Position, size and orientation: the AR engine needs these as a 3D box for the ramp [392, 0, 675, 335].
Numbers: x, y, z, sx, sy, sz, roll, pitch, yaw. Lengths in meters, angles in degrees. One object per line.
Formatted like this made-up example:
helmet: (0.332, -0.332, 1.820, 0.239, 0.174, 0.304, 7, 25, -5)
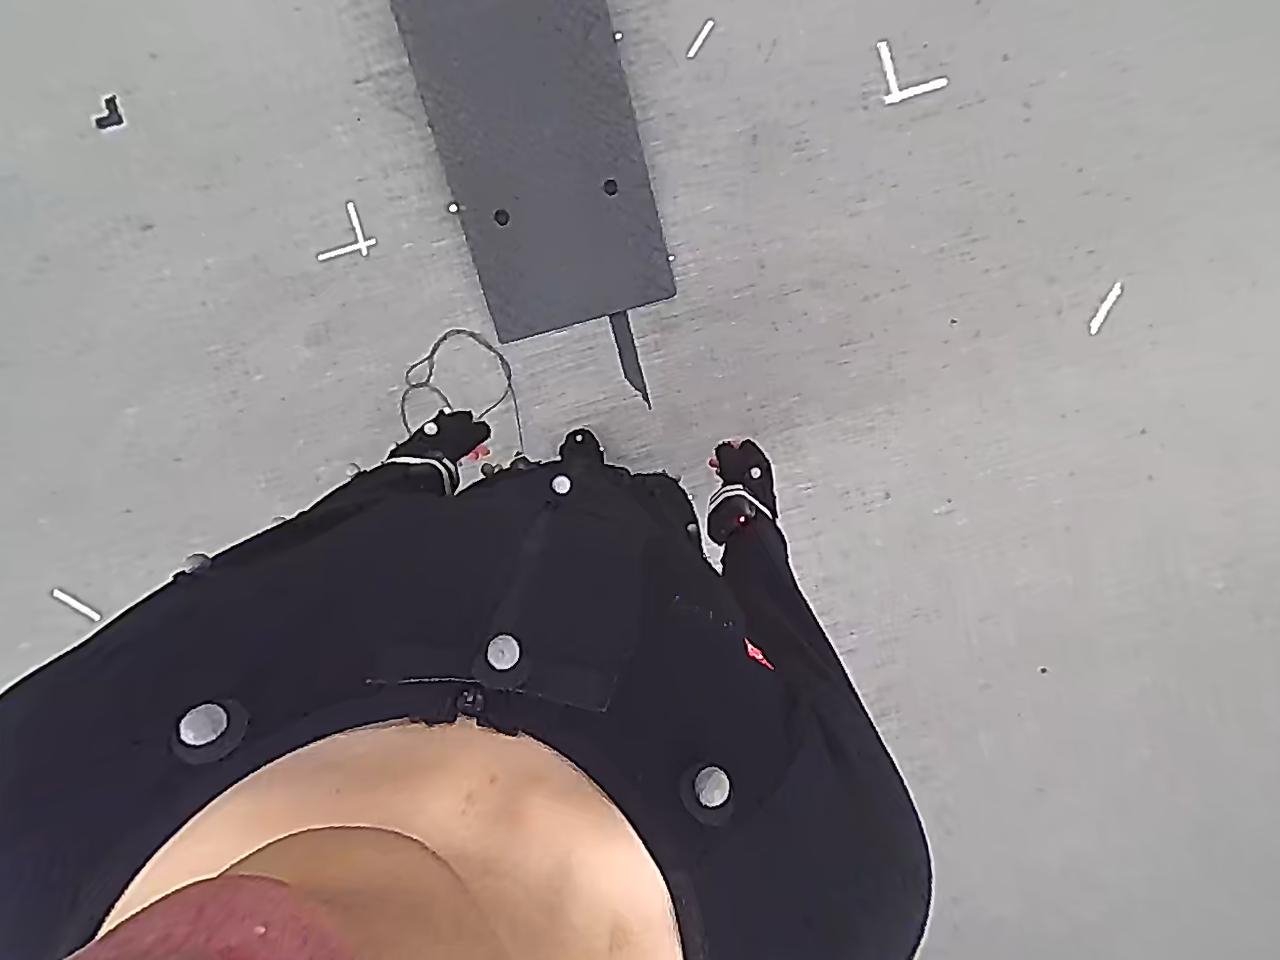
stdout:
ramp: (-0.262, -0.911, 1.312, 0.509, 0.206, 0.991, -17, 95, -2)
